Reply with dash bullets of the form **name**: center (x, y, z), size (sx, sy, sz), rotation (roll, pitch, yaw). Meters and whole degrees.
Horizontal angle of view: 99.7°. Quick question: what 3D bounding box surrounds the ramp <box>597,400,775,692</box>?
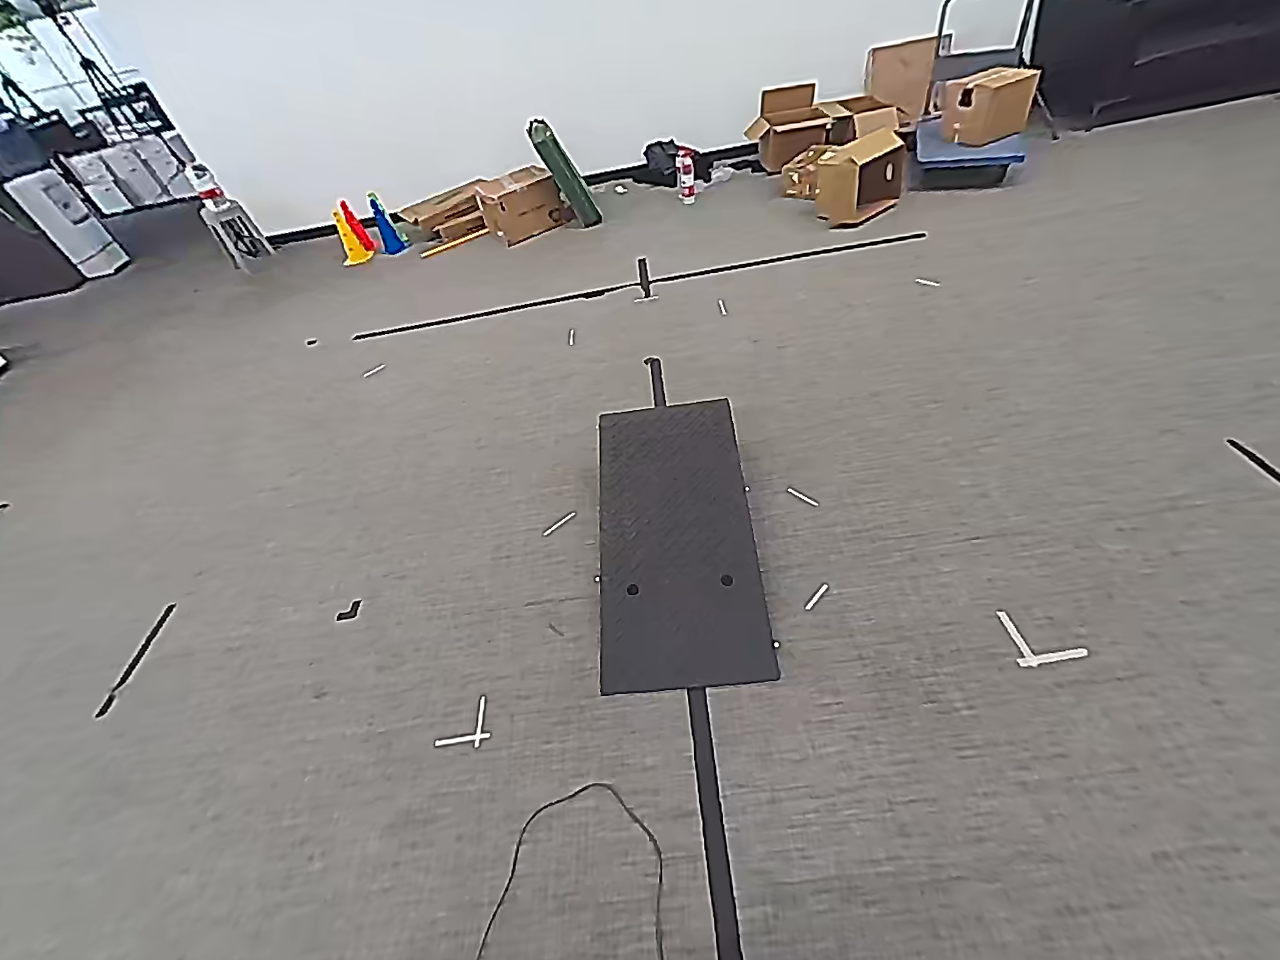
- **ramp**: center (0.106, 0.148, 1.751), size (0.509, 0.206, 0.991), rotation (-7, 46, 3)
